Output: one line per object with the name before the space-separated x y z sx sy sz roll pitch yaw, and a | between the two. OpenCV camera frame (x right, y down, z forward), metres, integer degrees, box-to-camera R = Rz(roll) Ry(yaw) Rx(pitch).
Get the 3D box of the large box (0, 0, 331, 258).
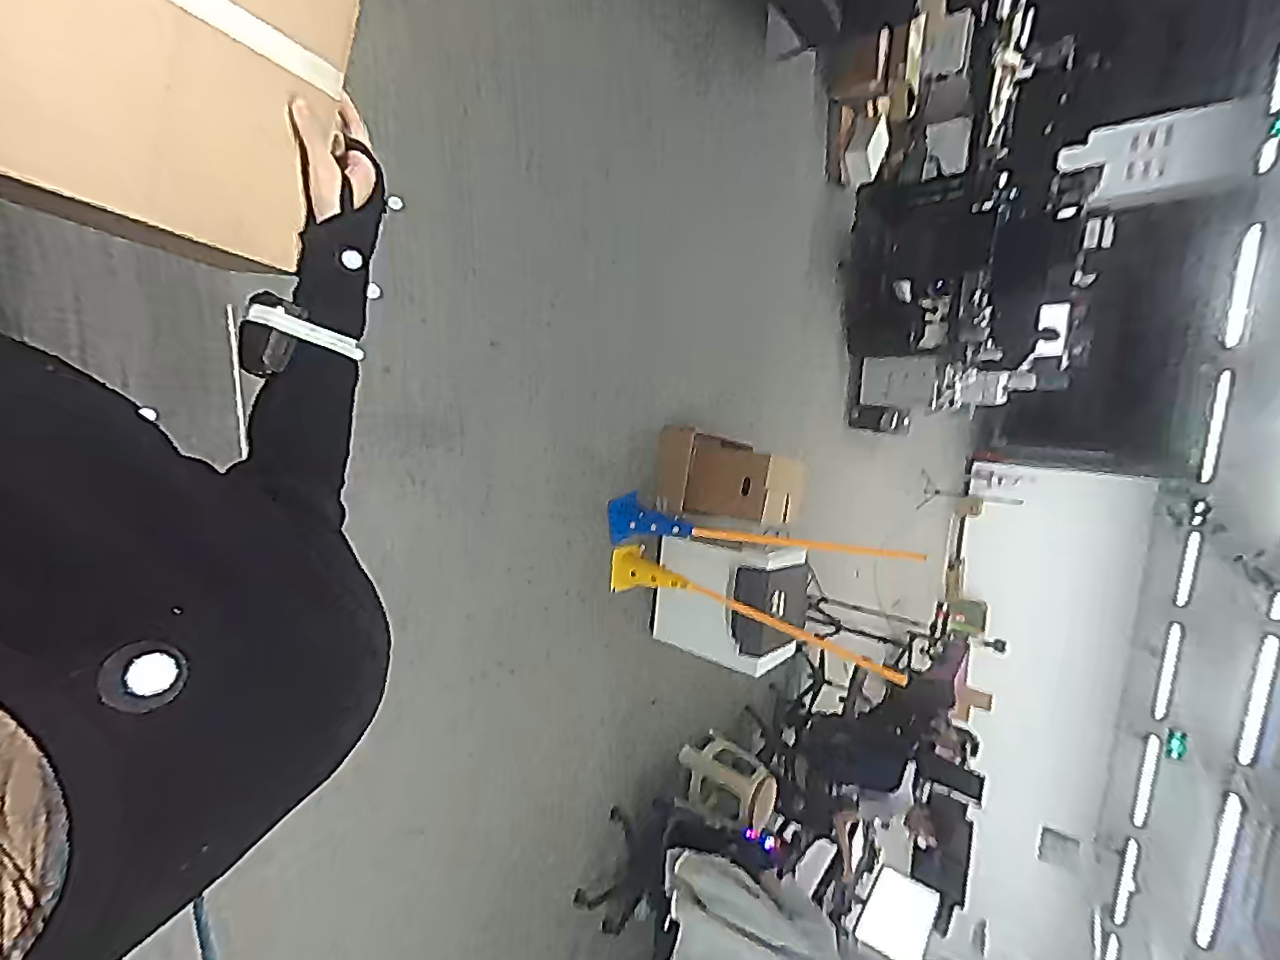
large box | -0.506 -0.394 0.406 0.408 0.320 0.320 7 100 -49
